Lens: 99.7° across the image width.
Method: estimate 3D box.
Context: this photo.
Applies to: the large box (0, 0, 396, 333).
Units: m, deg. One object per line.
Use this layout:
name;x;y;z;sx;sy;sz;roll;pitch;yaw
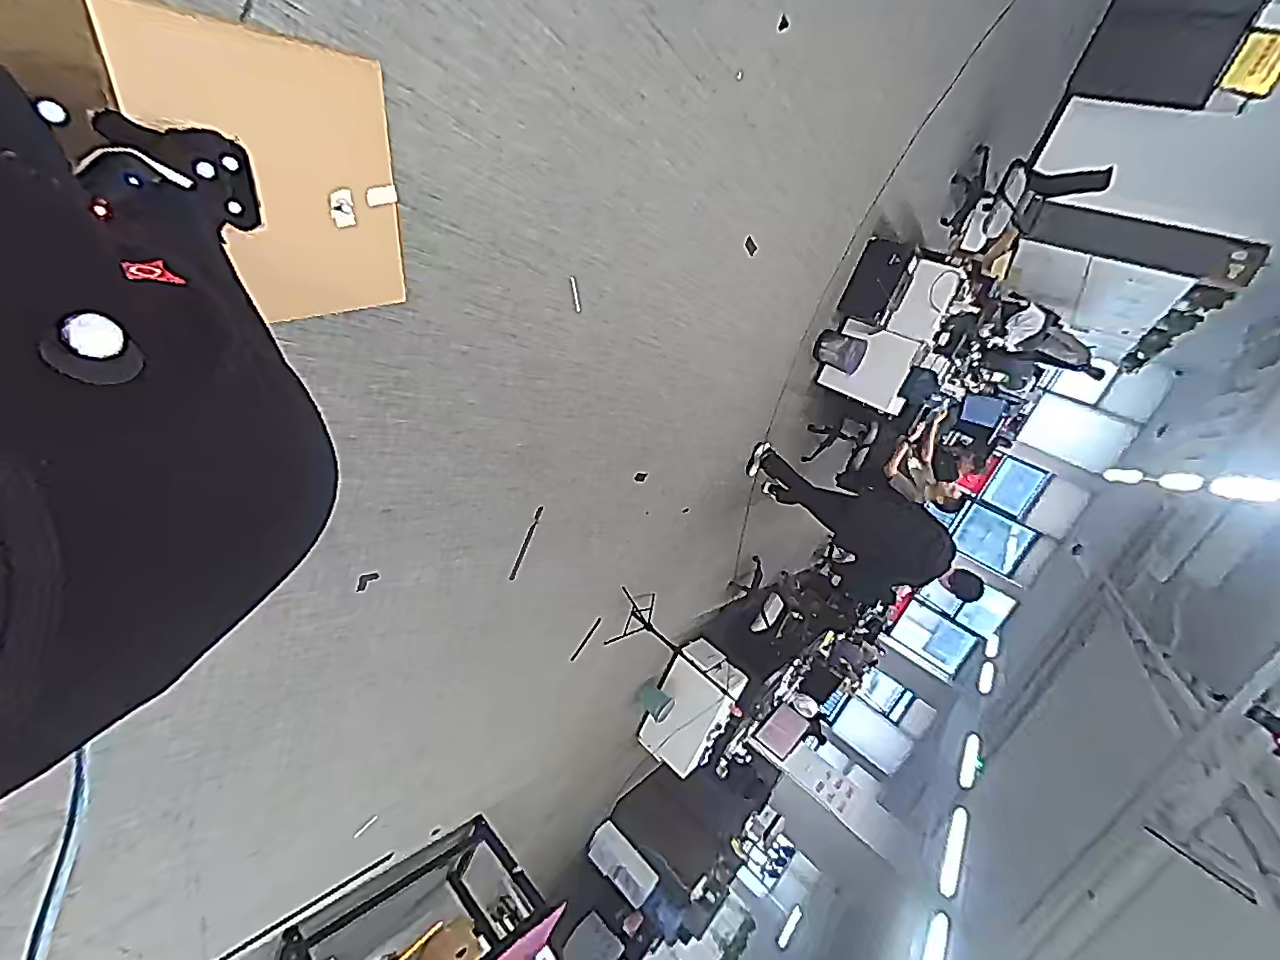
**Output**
large box;-0.613;-0.417;0.739;0.320;0.408;0.320;-39;142;-52
